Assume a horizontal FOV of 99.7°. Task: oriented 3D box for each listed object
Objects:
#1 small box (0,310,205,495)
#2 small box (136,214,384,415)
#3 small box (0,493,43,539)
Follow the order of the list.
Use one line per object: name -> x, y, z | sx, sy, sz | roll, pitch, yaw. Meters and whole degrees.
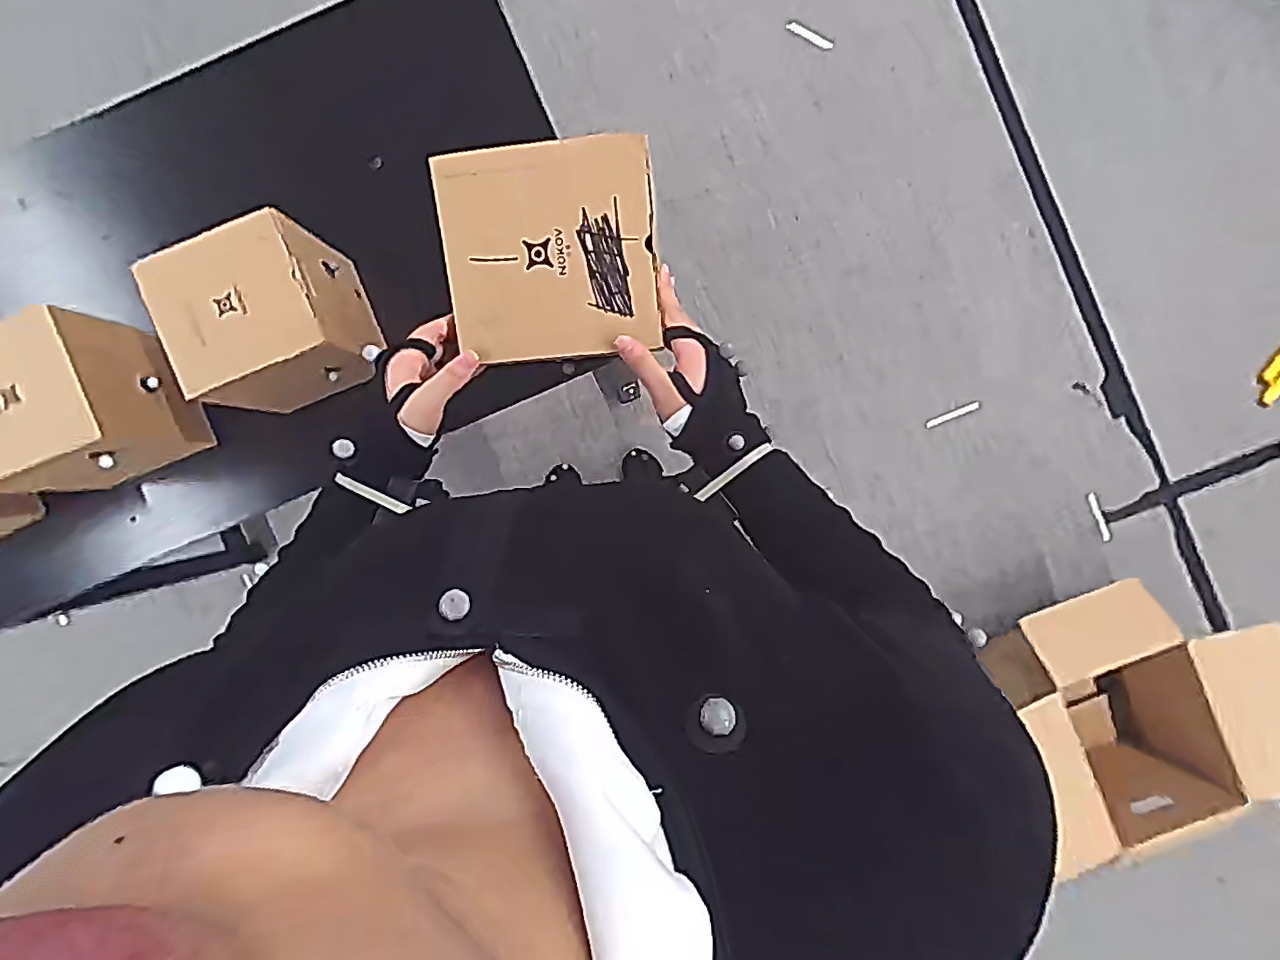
small box -> -0.710, -0.090, 0.690 | 0.179, 0.176, 0.168 | -22, 91, 1
small box -> -0.457, -0.194, 0.687 | 0.179, 0.176, 0.168 | -23, 90, 2
small box -> -0.961, 0.018, 0.697 | 0.179, 0.176, 0.168 | -25, 91, 2
